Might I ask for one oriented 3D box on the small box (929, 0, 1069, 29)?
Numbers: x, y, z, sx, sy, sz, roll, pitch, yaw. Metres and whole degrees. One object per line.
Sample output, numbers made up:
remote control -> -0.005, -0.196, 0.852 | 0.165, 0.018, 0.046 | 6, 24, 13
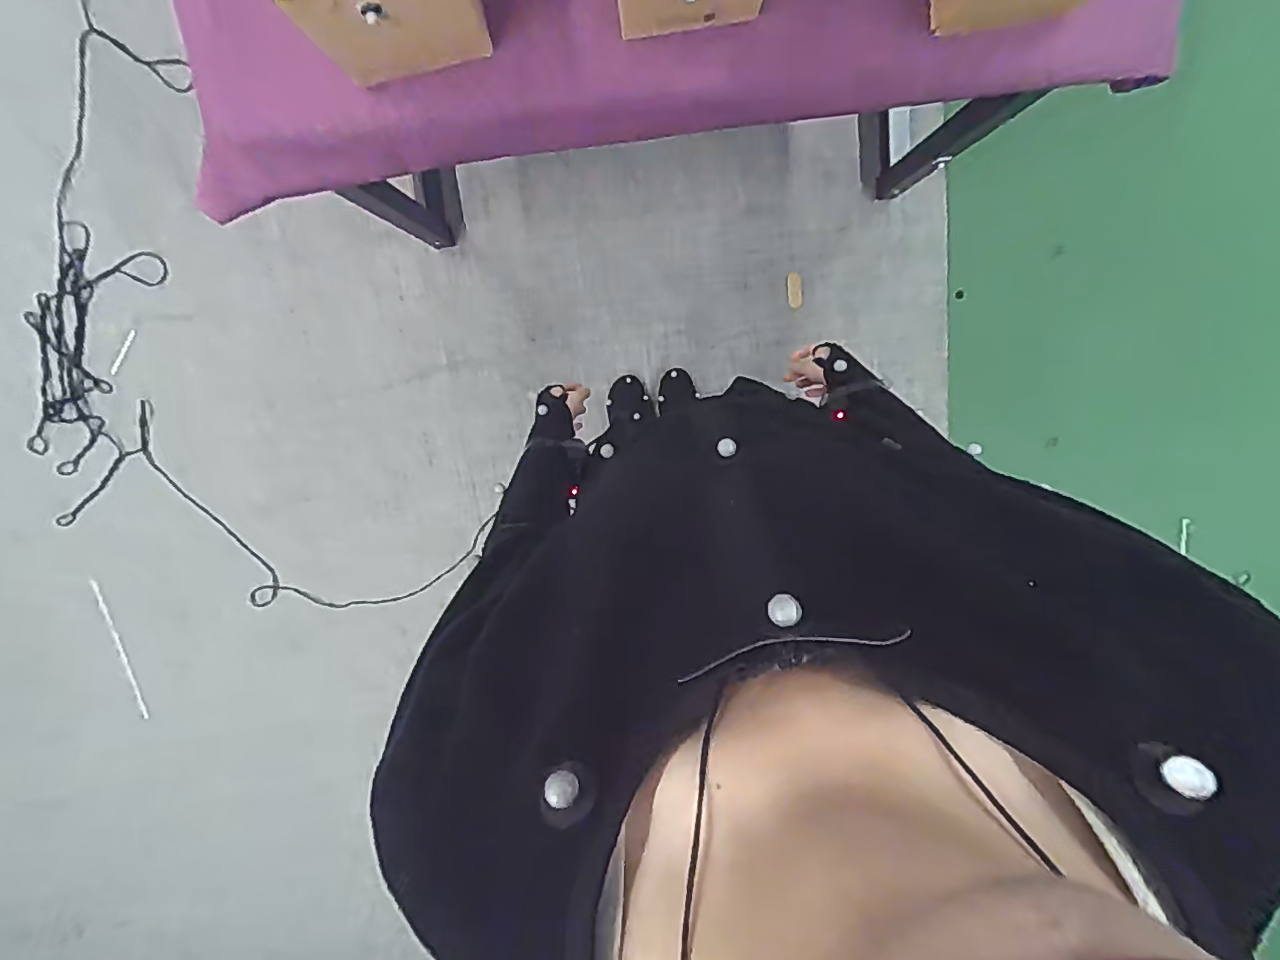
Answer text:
small box -> 0.426, -0.618, 0.559 | 0.179, 0.176, 0.168 | -8, 102, 5

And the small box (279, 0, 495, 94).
small box -> -0.284, -0.568, 0.596 | 0.179, 0.176, 0.168 | -13, 101, 3

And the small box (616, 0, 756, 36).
small box -> 0.046, -0.615, 0.573 | 0.168, 0.176, 0.179 | -7, 100, 3
